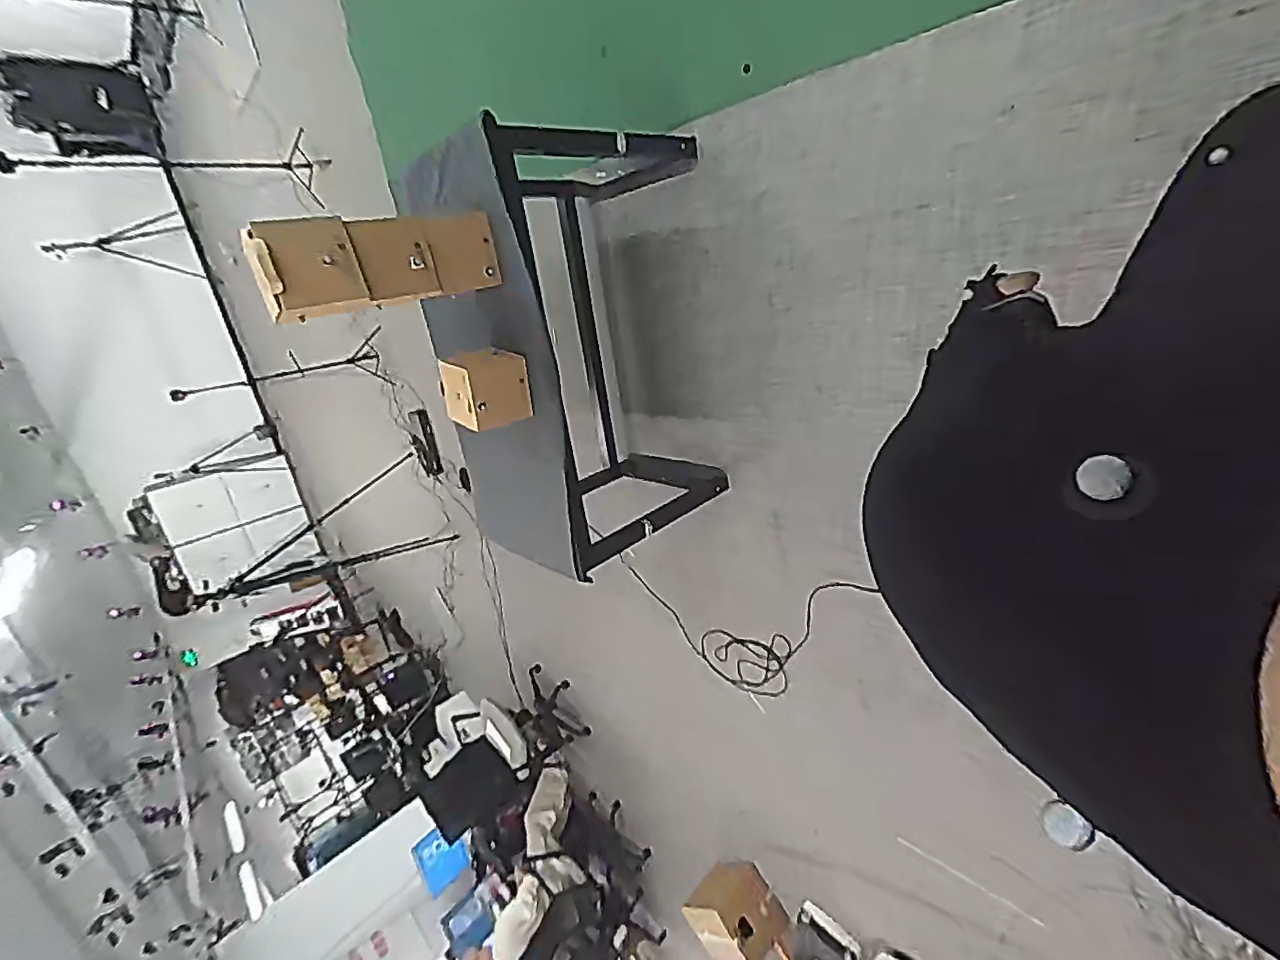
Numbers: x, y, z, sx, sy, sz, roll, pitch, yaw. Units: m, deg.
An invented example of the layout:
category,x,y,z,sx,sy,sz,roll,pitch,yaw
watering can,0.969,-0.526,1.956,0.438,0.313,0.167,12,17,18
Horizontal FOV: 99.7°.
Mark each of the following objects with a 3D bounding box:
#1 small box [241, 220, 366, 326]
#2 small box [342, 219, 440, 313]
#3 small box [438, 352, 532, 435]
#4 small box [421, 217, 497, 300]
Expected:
category,x,y,z,sx,sy,sz,roll,pitch,yaw
small box,-0.700,-0.430,1.131,0.179,0.176,0.168,6,116,50
small box,-0.585,-0.487,1.236,0.179,0.176,0.168,9,118,47
small box,-0.408,-0.238,1.438,0.179,0.176,0.168,24,127,42
small box,-0.470,-0.545,1.335,0.179,0.176,0.168,15,122,47
